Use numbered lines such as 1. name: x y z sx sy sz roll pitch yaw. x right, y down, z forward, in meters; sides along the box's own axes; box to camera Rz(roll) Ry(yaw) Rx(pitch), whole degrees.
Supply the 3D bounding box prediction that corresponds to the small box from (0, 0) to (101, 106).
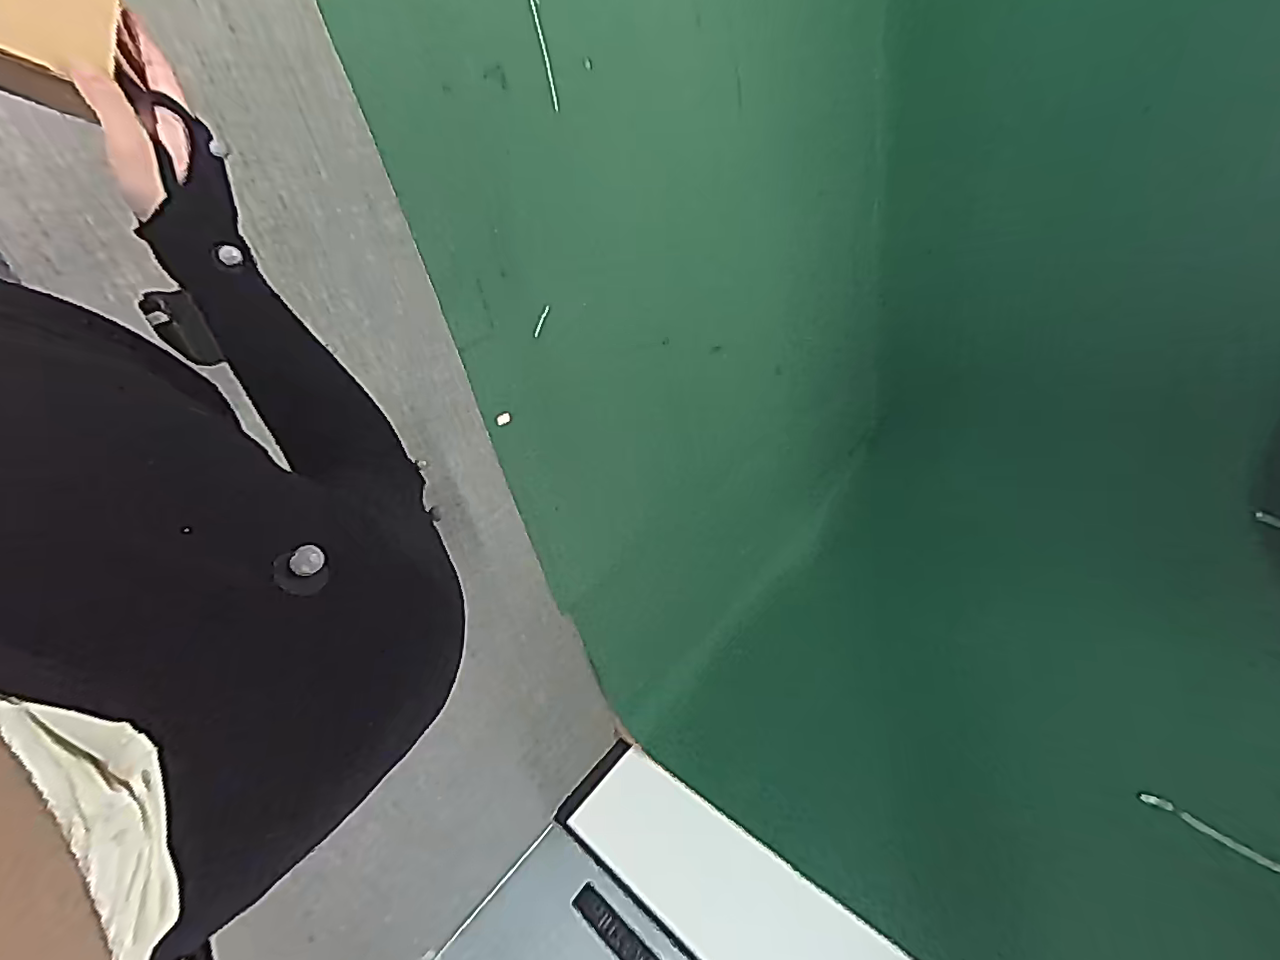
1. small box: -0.474 -0.390 0.357 0.168 0.176 0.179 2 106 -47
